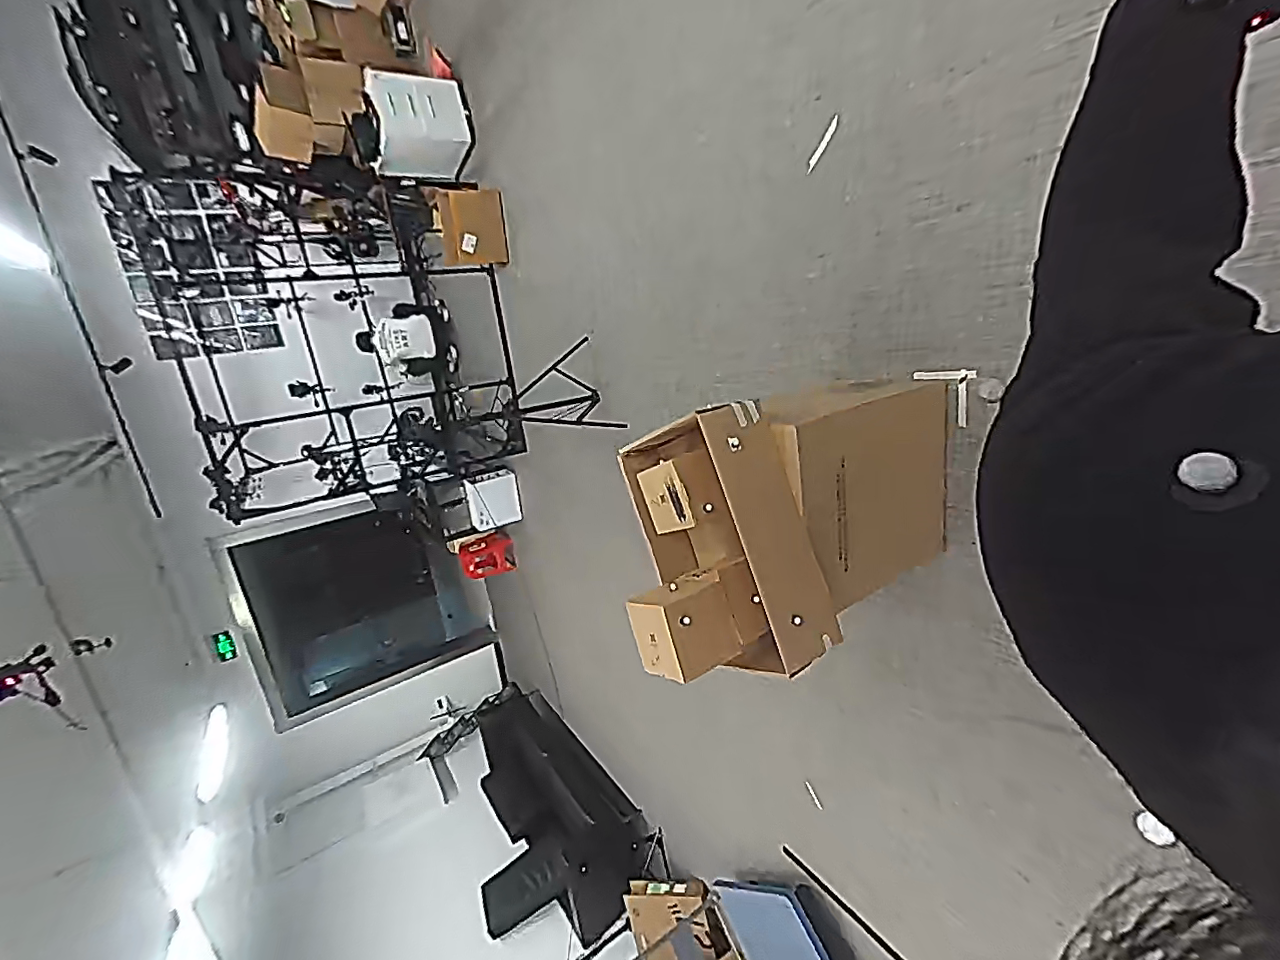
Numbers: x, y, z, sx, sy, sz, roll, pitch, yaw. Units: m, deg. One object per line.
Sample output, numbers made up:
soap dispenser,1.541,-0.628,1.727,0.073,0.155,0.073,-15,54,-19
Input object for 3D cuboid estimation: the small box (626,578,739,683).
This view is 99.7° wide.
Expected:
small box,0.099,0.333,1.237,0.168,0.176,0.179,-13,94,59
